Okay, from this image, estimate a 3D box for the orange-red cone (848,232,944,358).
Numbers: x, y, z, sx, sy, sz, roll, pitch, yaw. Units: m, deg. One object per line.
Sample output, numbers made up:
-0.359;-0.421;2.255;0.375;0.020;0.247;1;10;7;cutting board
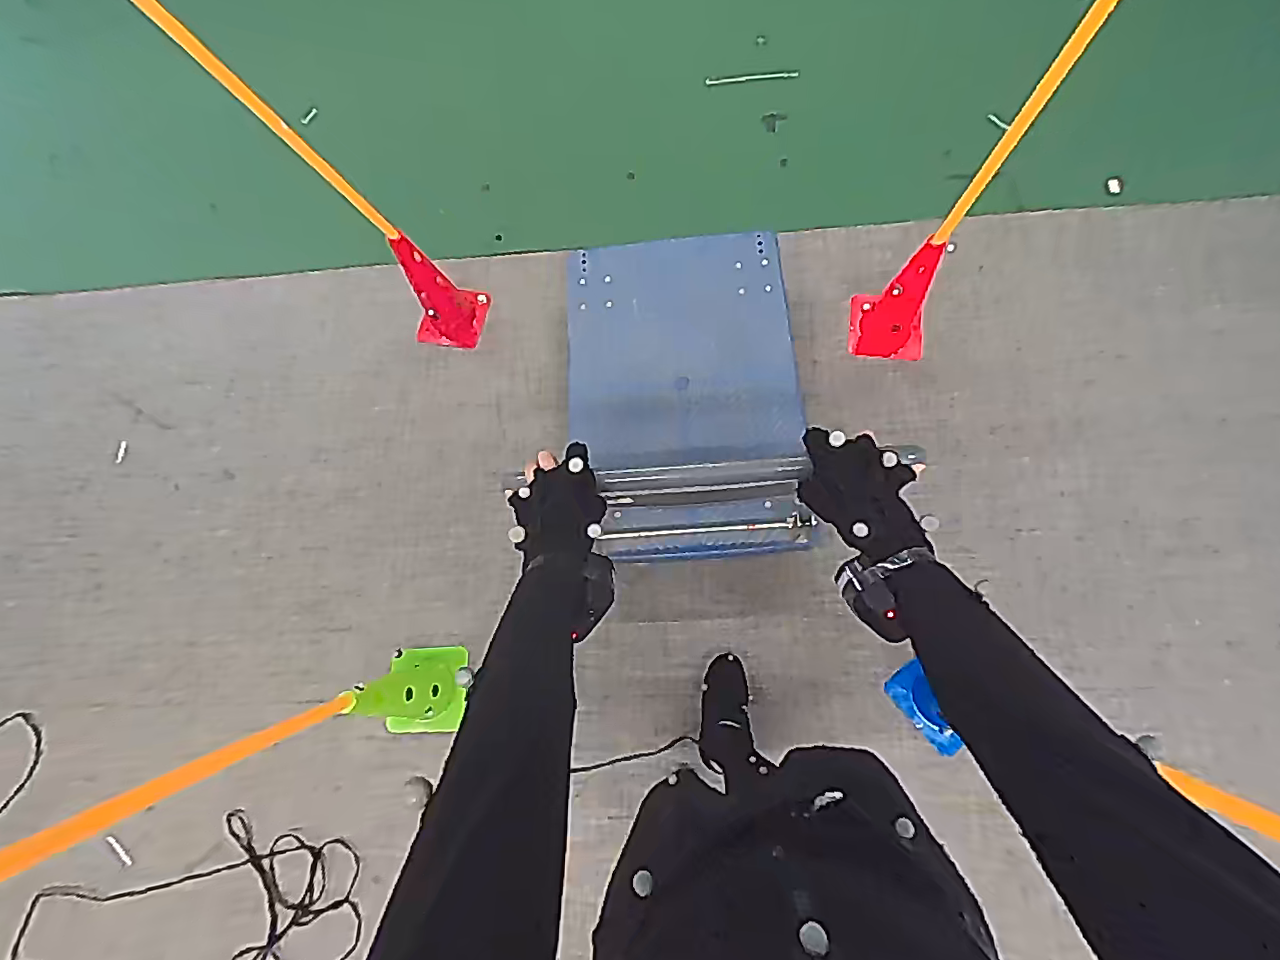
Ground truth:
0.685;-0.489;1.381;0.198;0.360;0.199;8;75;8;orange-red cone
